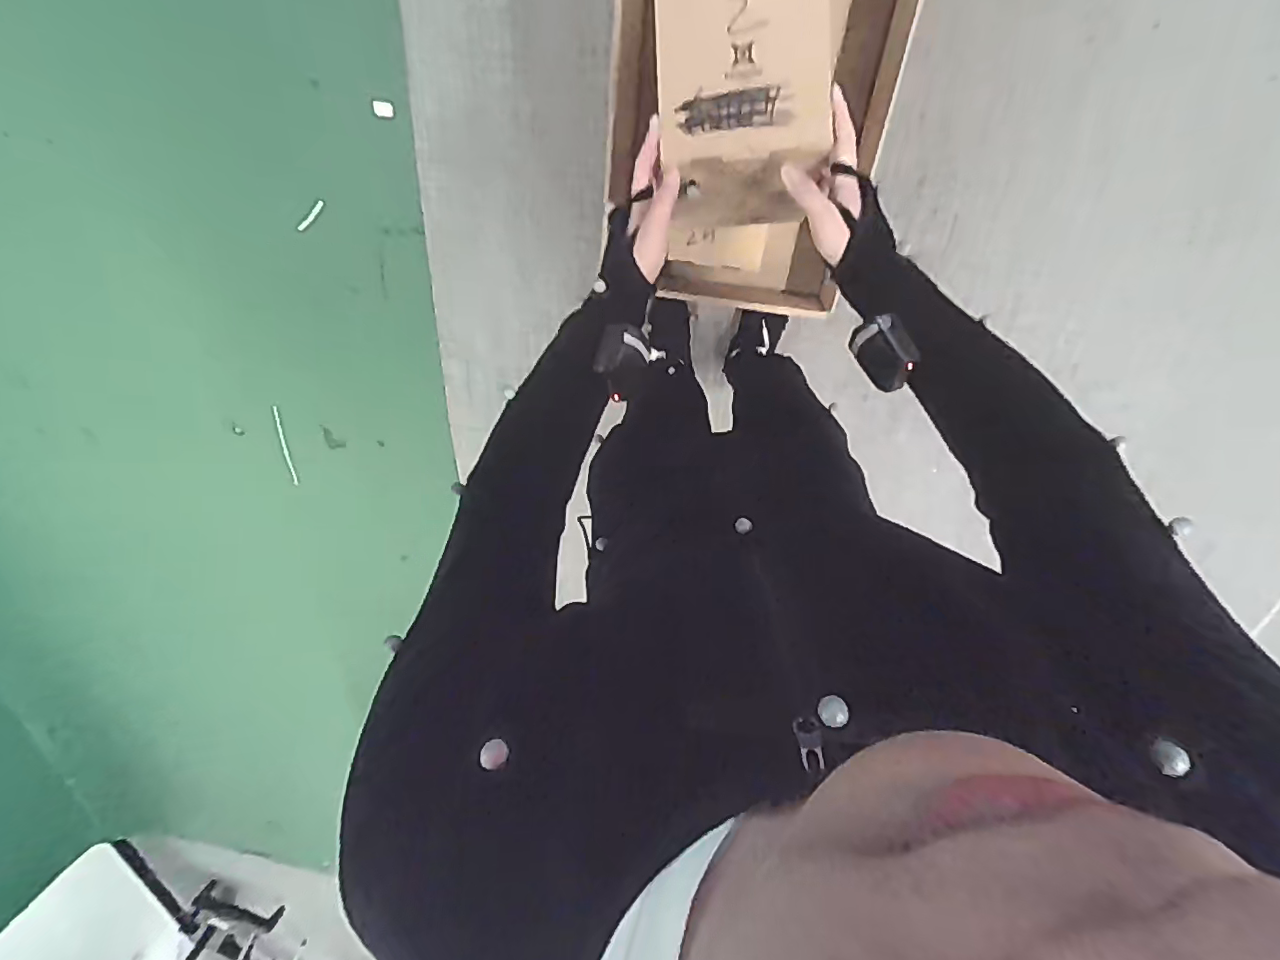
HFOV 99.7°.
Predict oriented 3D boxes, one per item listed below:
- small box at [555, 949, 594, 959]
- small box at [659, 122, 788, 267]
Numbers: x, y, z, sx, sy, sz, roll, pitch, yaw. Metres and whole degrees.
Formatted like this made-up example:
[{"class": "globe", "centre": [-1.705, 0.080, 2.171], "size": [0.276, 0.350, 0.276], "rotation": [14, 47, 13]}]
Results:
[{"class": "small box", "centre": [-0.219, 1.712, 1.802], "size": [0.168, 0.176, 0.179], "rotation": [7, 120, 9]}, {"class": "small box", "centre": [0.132, -0.456, 0.869], "size": [0.168, 0.176, 0.179], "rotation": [11, 120, 6]}]
